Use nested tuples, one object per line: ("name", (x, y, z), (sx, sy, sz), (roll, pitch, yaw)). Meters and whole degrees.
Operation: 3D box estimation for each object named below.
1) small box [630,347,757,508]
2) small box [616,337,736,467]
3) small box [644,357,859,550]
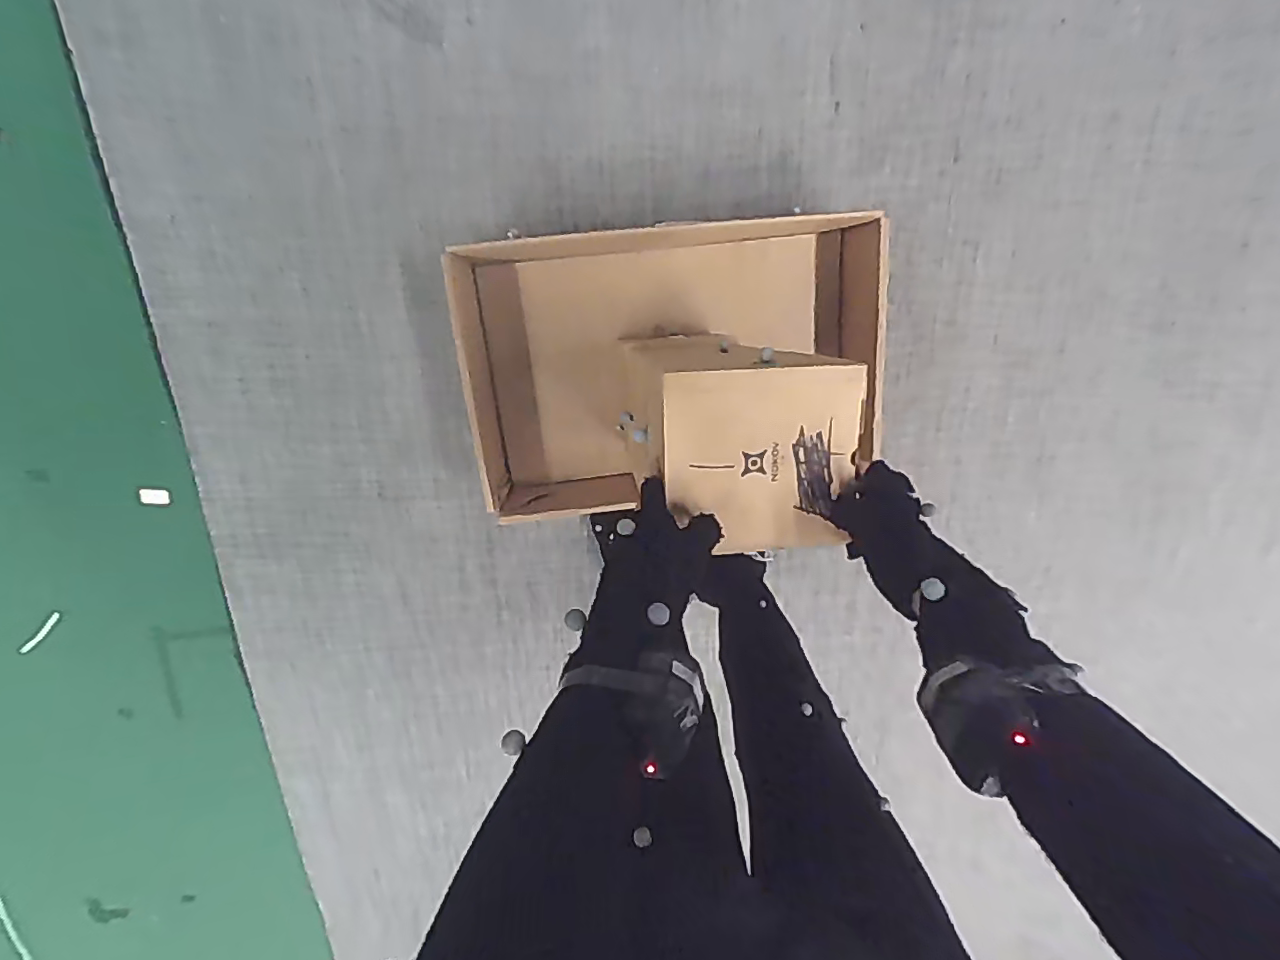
("small box", (0.076, -0.076, 0.705), (0.168, 0.176, 0.179), (-3, 108, -5))
("small box", (0.052, -0.130, 0.857), (0.168, 0.176, 0.179), (-6, 106, -5))
("small box", (0.099, -0.038, 0.563), (0.179, 0.176, 0.168), (-3, 106, -5))
